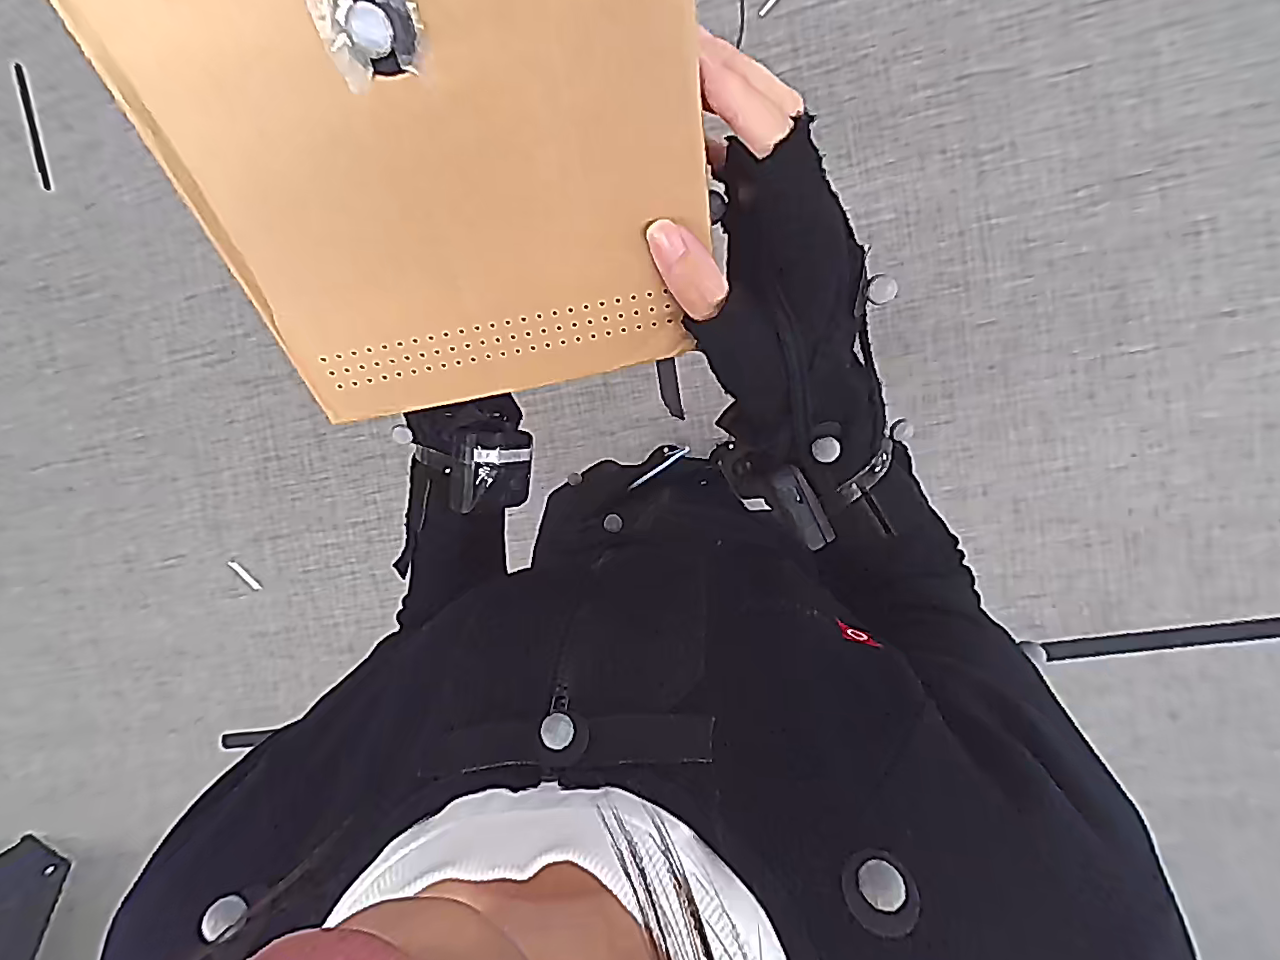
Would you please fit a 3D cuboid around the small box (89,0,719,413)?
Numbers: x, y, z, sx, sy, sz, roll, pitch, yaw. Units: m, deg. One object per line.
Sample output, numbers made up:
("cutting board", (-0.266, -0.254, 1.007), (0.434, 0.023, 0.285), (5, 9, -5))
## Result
("small box", (-0.067, -0.148, 0.248), (0.179, 0.168, 0.176), (-10, 132, 2))
